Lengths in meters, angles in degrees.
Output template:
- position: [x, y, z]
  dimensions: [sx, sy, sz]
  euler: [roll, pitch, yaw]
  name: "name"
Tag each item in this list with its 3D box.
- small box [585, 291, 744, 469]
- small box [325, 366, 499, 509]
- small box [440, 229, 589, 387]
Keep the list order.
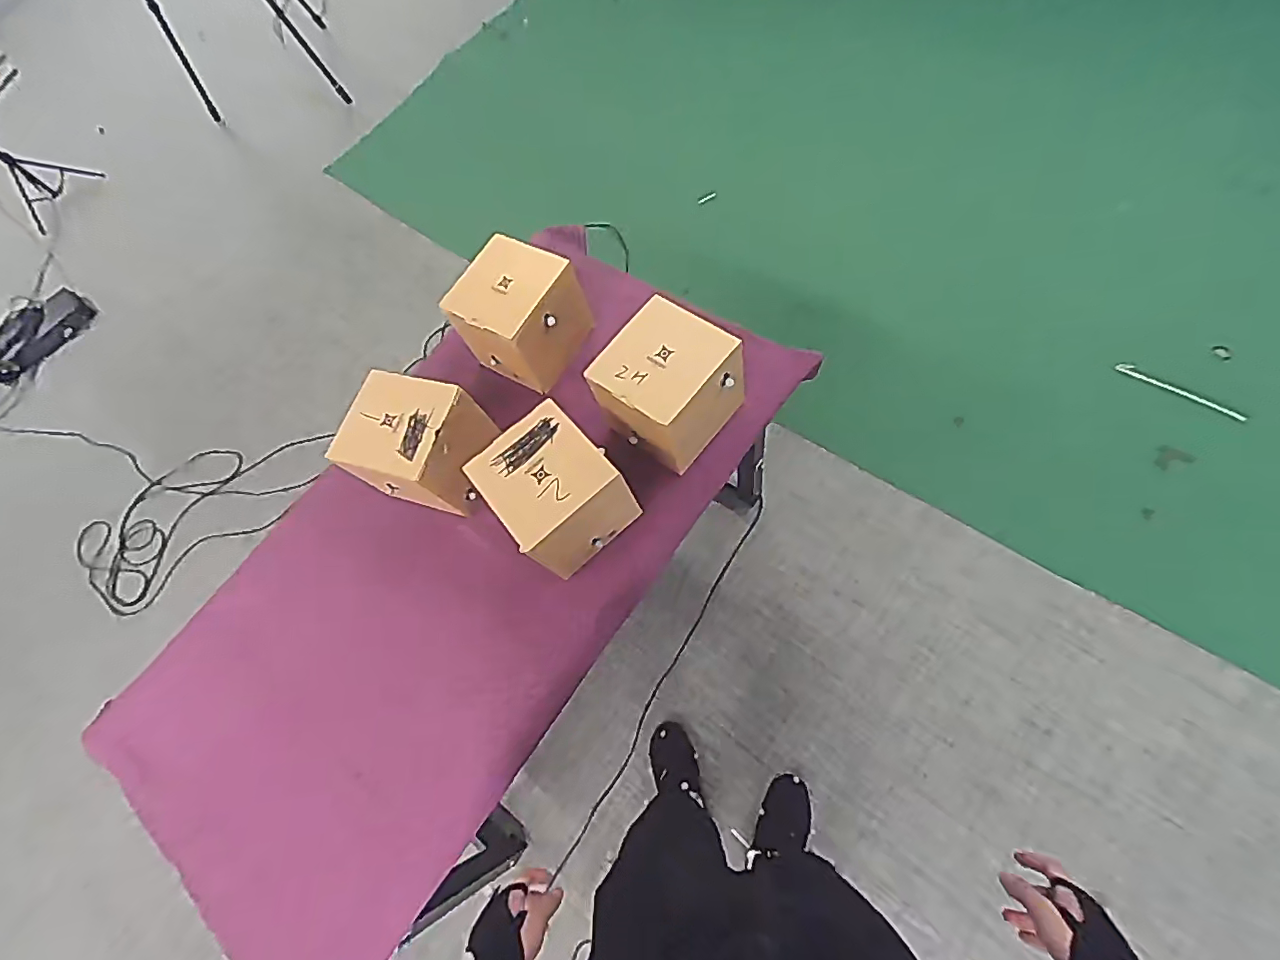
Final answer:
- position: [0.047, -0.150, 0.848]
  dimensions: [0.168, 0.176, 0.179]
  euler: [37, 80, 24]
  name: "small box"
- position: [-0.364, -0.063, 0.901]
  dimensions: [0.179, 0.176, 0.168]
  euler: [13, 72, 16]
  name: "small box"
- position: [-0.209, -0.300, 0.964]
  dimensions: [0.168, 0.176, 0.179]
  euler: [27, 78, 20]
  name: "small box"
